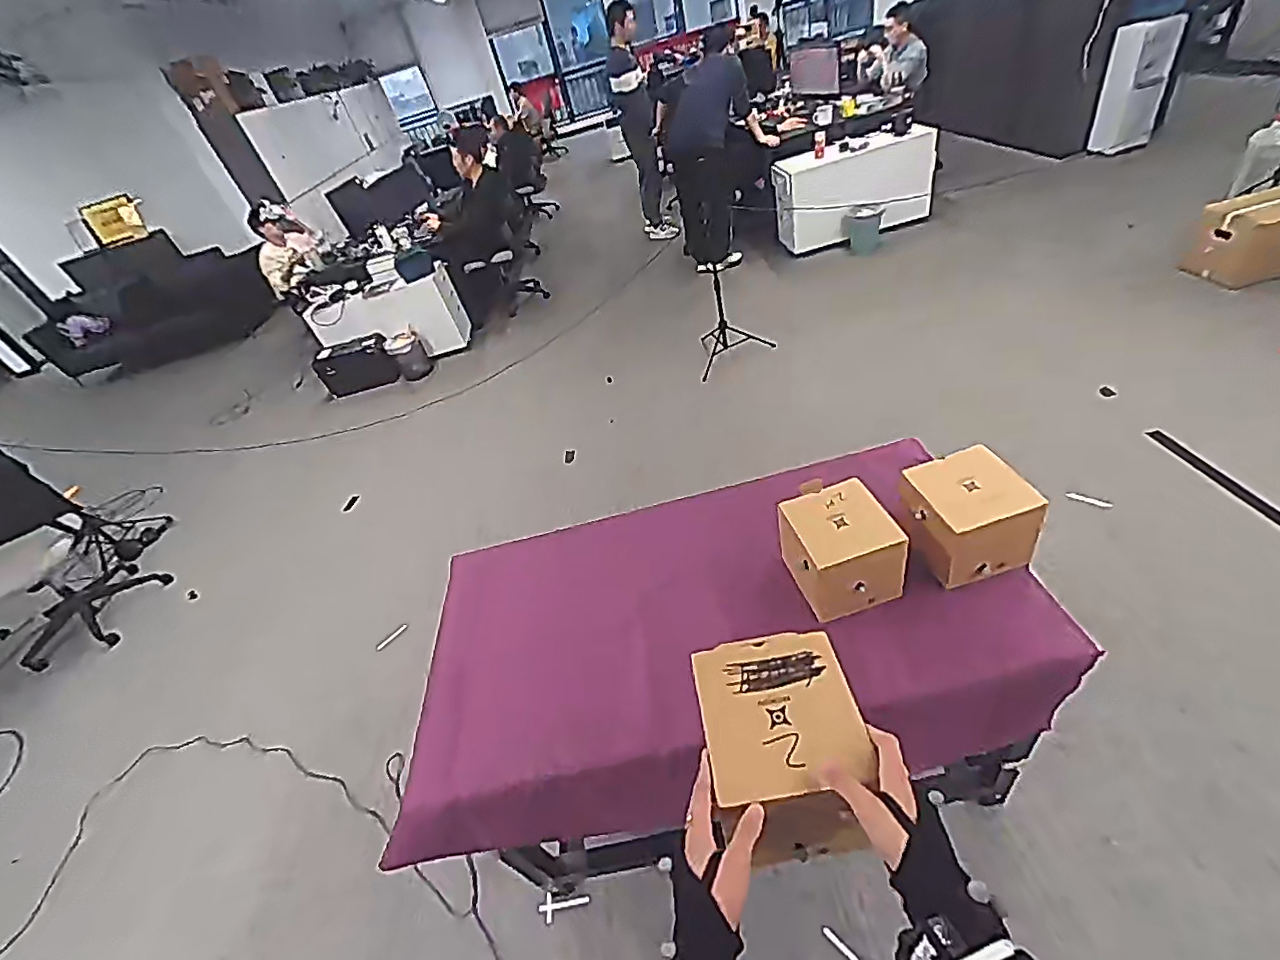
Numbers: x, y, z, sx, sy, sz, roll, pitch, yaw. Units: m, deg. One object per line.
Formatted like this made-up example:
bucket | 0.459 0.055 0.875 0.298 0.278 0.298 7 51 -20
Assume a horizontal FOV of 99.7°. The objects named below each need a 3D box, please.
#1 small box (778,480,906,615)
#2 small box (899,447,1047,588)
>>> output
small box | 0.380 0.135 1.034 0.168 0.176 0.179 -18 39 -1
small box | 0.611 0.072 1.020 0.168 0.176 0.179 -18 39 2
